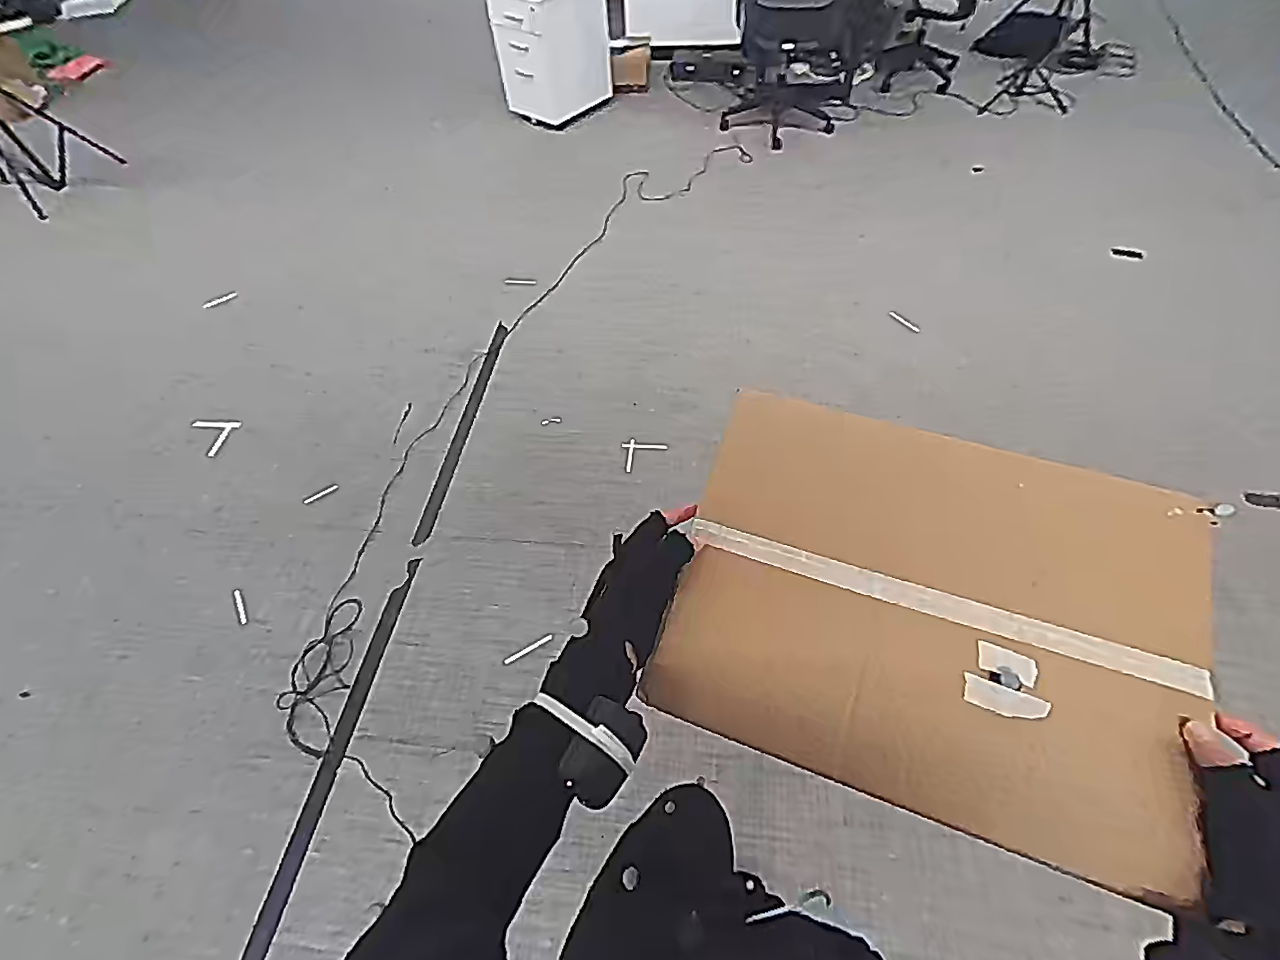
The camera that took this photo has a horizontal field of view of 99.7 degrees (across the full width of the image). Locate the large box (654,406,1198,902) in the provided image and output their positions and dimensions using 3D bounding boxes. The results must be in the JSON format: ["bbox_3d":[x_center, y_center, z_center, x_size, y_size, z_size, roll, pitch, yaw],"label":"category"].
[{"bbox_3d":[0.260,0.164,0.602,0.408,0.320,0.320,17,72,14],"label":"large box"}]
